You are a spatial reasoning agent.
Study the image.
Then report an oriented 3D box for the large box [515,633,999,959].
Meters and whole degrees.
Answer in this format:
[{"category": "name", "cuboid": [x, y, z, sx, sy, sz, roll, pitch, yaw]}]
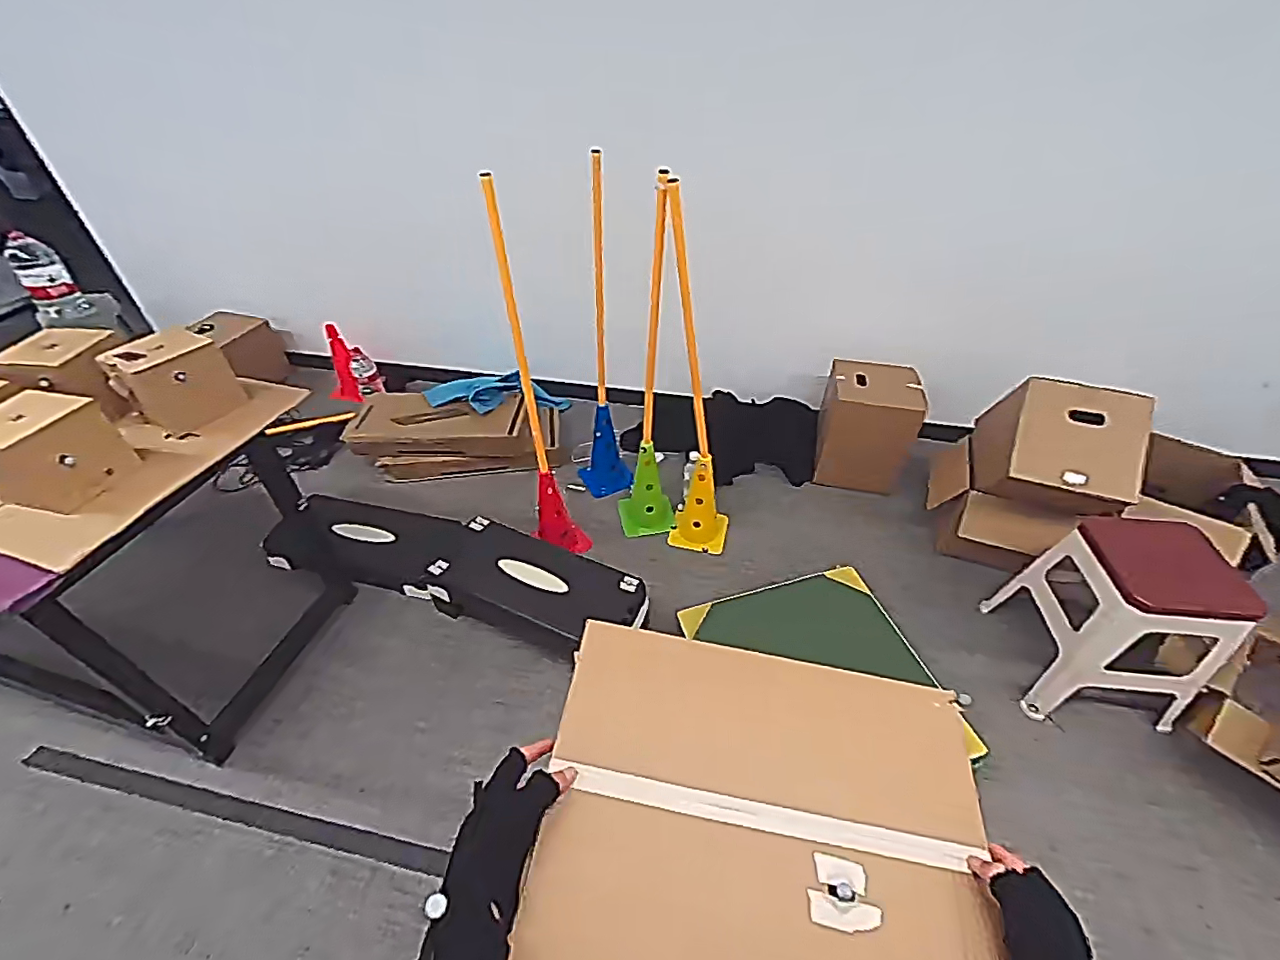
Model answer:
[{"category": "large box", "cuboid": [0.105, 0.415, 0.618, 0.408, 0.320, 0.320, 10, 50, 4]}]
